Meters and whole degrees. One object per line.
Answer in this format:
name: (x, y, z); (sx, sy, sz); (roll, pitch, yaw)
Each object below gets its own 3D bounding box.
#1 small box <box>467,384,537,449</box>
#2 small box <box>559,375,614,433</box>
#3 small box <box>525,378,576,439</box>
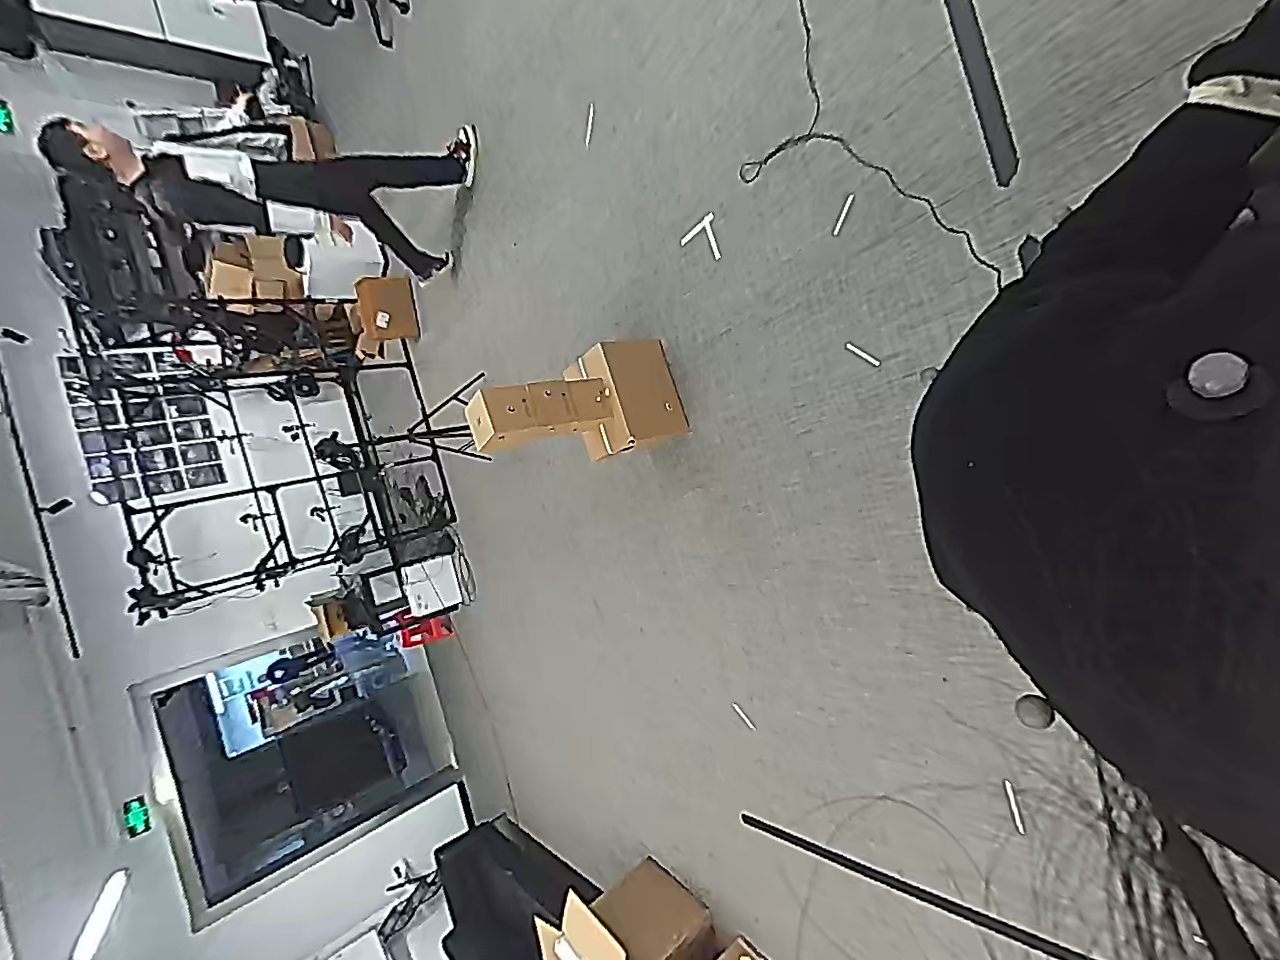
small box: (-0.476, -0.225, 1.886); (0.179, 0.176, 0.168); (-31, 76, 51)
small box: (-0.227, -0.294, 2.086); (0.179, 0.176, 0.168); (-22, 85, 52)
small box: (-0.349, -0.265, 1.983); (0.179, 0.176, 0.168); (-25, 81, 53)
